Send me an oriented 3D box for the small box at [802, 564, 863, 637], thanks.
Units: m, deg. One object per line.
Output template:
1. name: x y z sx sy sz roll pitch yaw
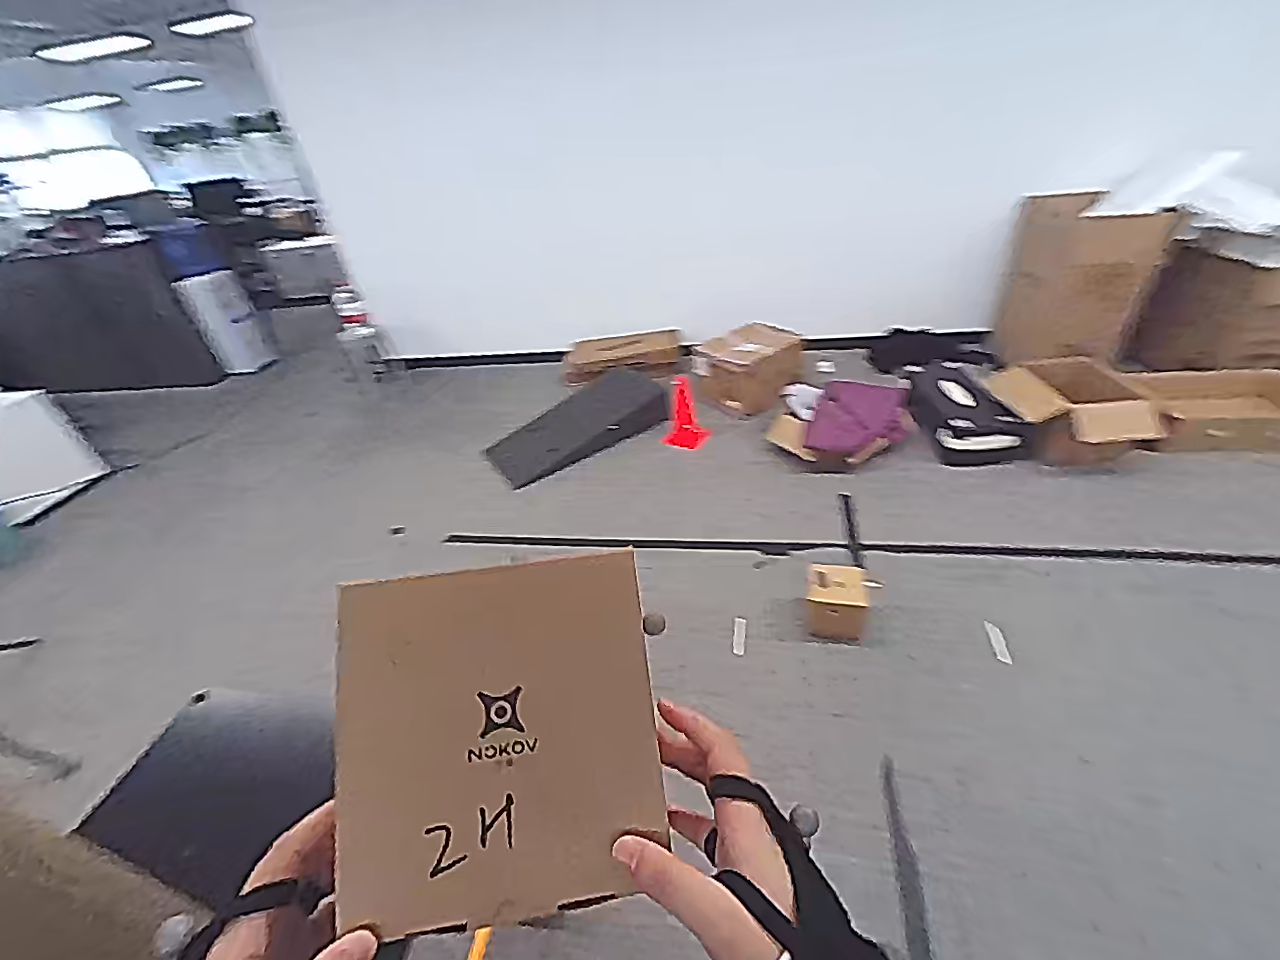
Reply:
1. small box: 0.636 0.402 1.805 0.179 0.176 0.168 2 37 14
